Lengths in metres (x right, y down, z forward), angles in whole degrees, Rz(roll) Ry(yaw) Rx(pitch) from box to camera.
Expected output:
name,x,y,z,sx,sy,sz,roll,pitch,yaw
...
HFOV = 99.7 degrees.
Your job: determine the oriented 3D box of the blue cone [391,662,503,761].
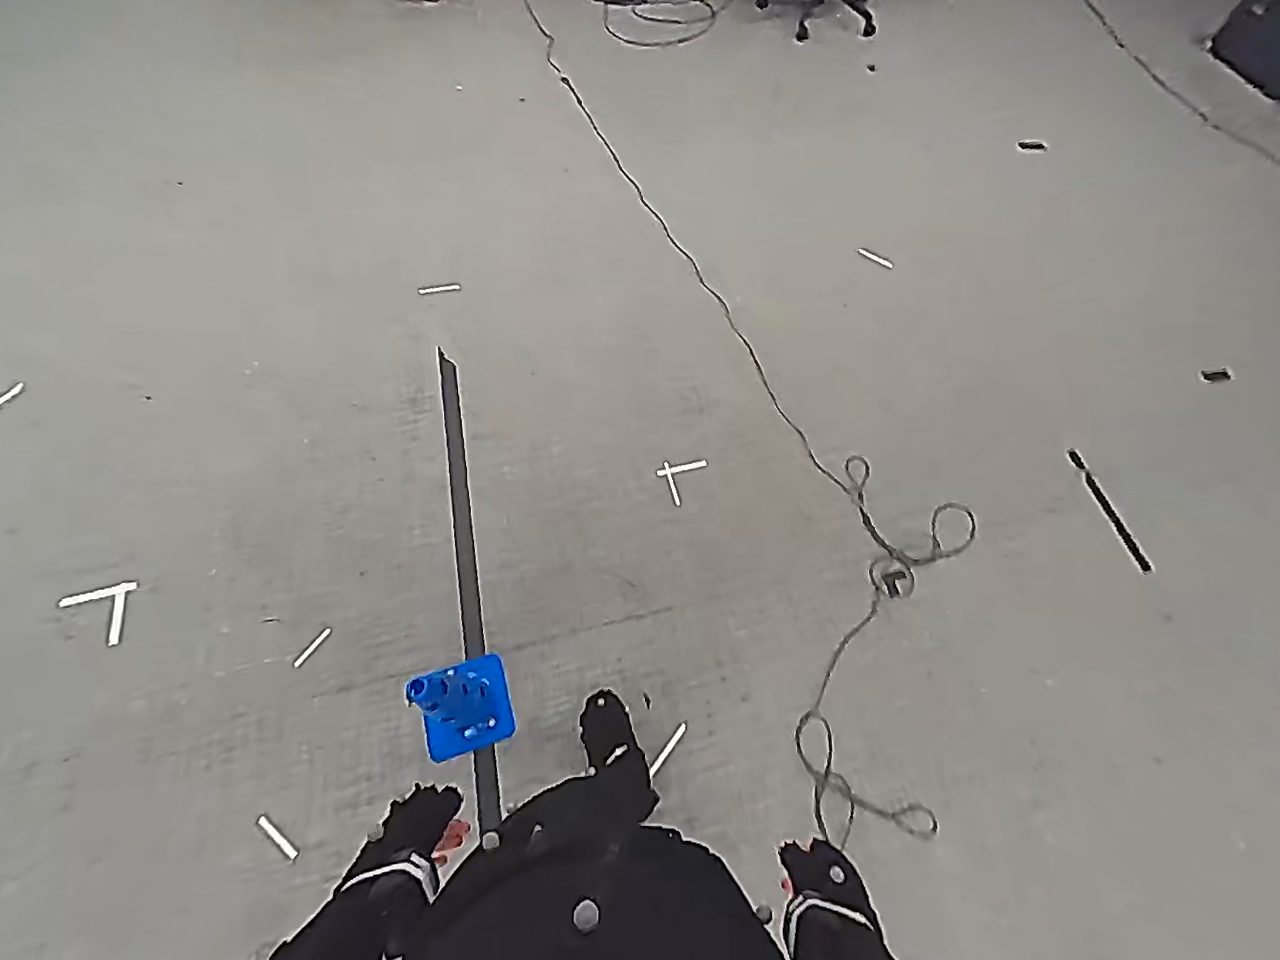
name,x,y,z,sx,sy,sz,roll,pitch,yaw
blue cone,-0.424,0.468,1.138,0.192,0.380,0.193,-14,64,-9
